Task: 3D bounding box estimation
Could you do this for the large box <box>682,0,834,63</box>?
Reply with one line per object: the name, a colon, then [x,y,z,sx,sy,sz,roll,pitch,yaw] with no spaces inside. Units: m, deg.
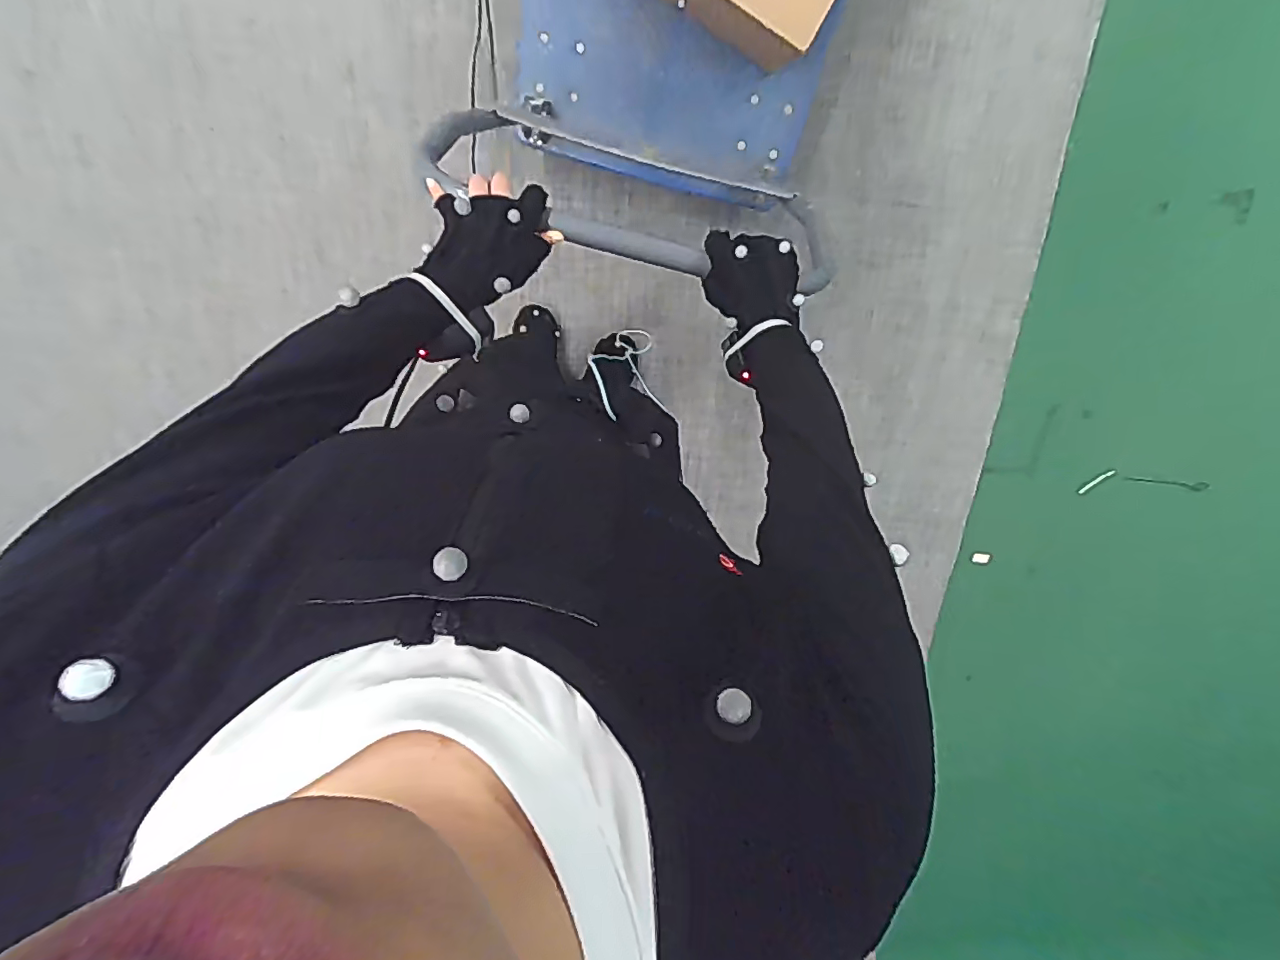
large box: [0.148,-0.901,0.797,0.408,0.320,0.320,26,121,-12]
